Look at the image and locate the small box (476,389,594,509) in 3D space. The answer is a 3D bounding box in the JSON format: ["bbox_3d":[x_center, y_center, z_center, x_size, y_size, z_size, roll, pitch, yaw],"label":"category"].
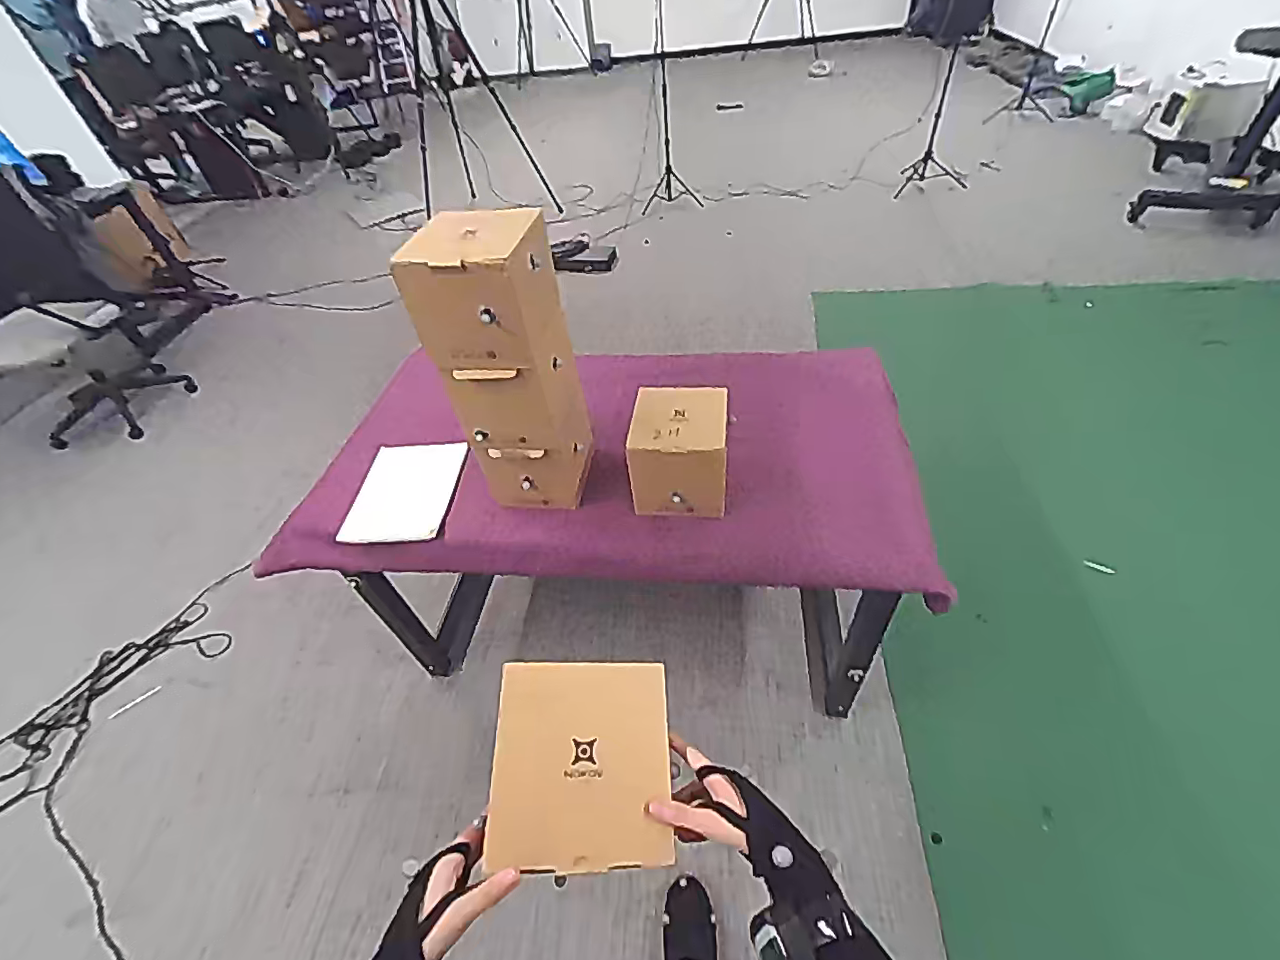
[{"bbox_3d":[-0.191,-0.059,1.054,0.168,0.176,0.179,3,47,9],"label":"small box"}]

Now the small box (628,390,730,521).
[{"bbox_3d":[0.079,-0.047,1.004,0.168,0.176,0.179,2,46,10],"label":"small box"}]

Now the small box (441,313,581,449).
[{"bbox_3d":[-0.208,-0.169,0.932,0.168,0.176,0.179,2,45,10],"label":"small box"}]

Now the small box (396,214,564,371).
[{"bbox_3d":[-0.223,-0.279,0.812,0.168,0.176,0.179,3,46,10],"label":"small box"}]
